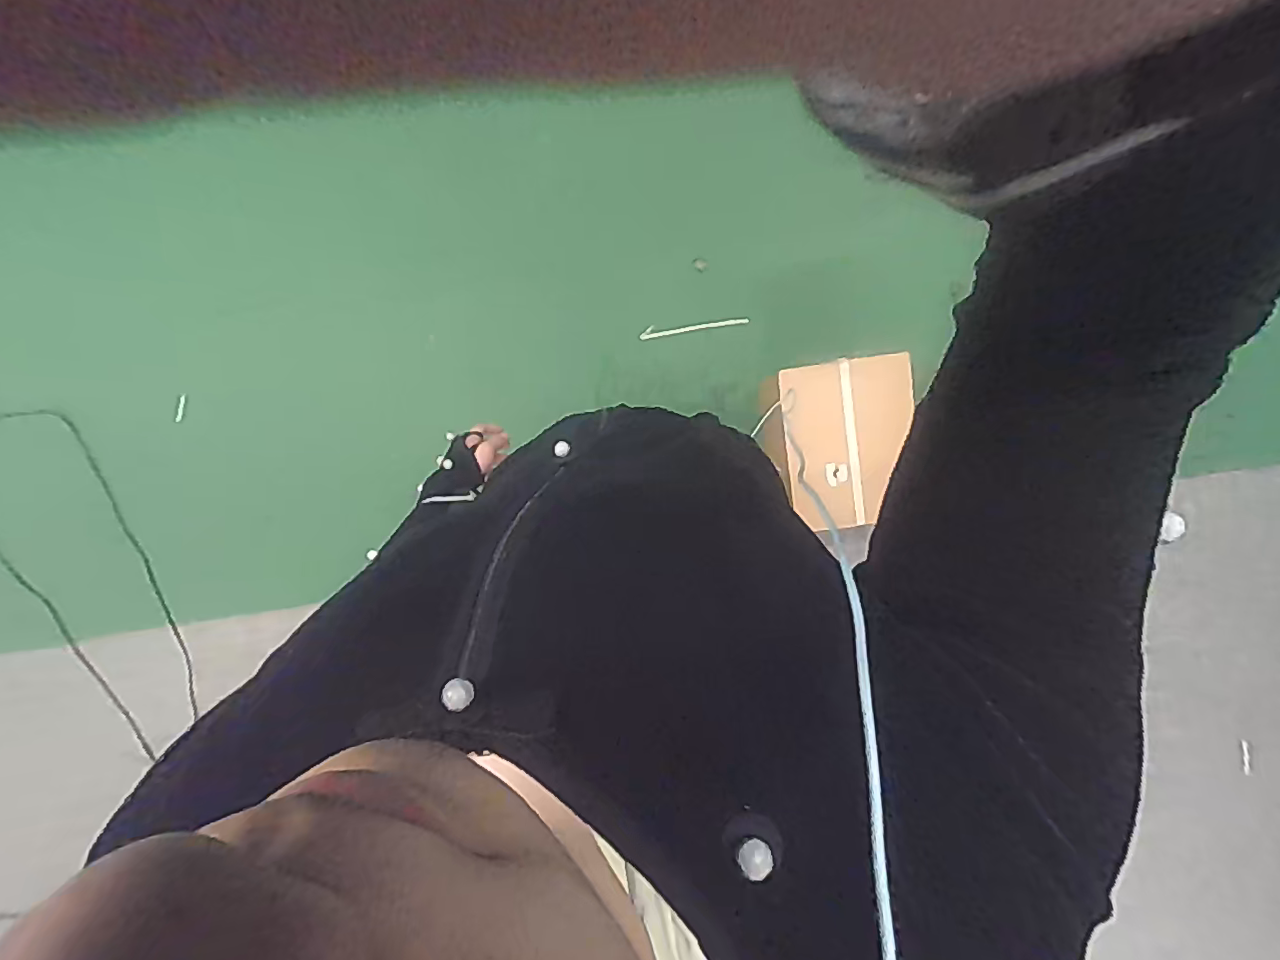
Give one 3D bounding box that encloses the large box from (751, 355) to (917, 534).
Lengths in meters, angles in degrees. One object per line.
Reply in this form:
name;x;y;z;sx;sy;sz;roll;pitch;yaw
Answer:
large box;0.504;-0.098;1.462;0.320;0.320;0.408;-8;95;3
